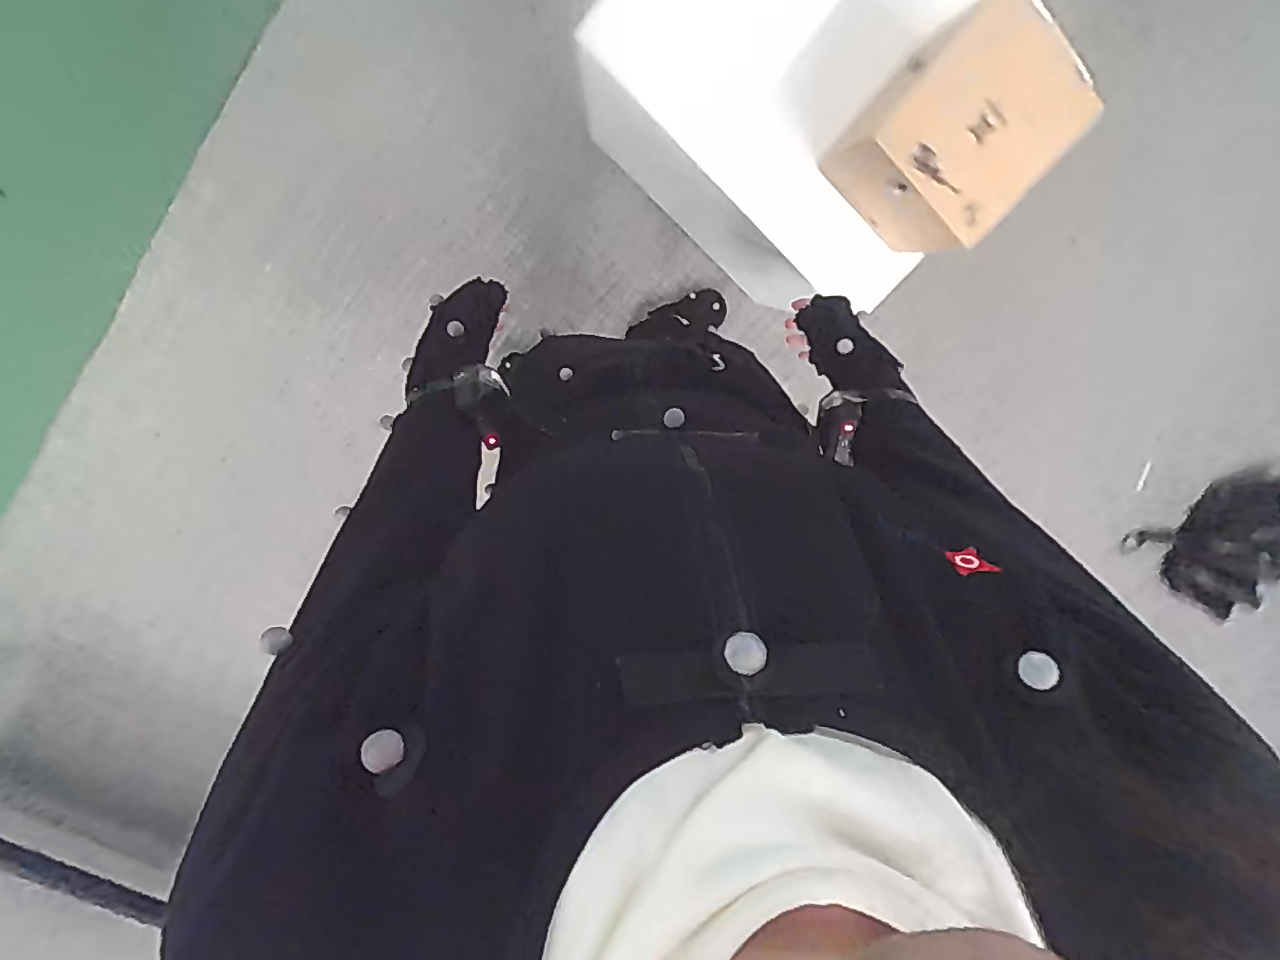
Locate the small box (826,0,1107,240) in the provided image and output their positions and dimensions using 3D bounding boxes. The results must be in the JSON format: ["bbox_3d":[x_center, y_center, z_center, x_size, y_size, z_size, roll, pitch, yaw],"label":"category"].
[{"bbox_3d":[0.346,-0.399,0.610,0.168,0.176,0.179,39,106,-16],"label":"small box"}]
